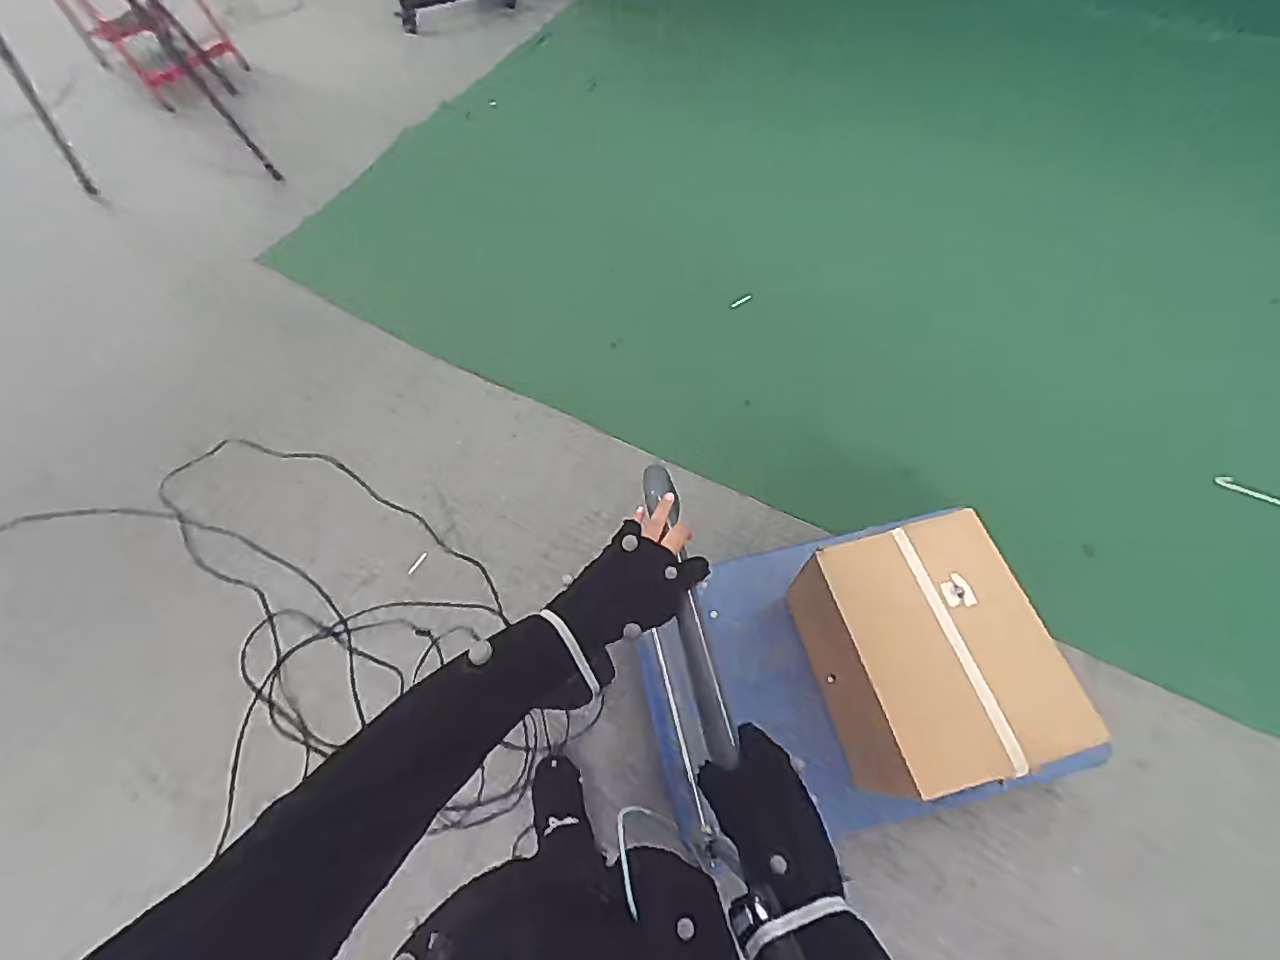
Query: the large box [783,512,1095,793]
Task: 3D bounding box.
[{"bbox_3d":[0.514,0.333,1.041,0.320,0.320,0.408,-14,62,-5],"label":"large box"}]
